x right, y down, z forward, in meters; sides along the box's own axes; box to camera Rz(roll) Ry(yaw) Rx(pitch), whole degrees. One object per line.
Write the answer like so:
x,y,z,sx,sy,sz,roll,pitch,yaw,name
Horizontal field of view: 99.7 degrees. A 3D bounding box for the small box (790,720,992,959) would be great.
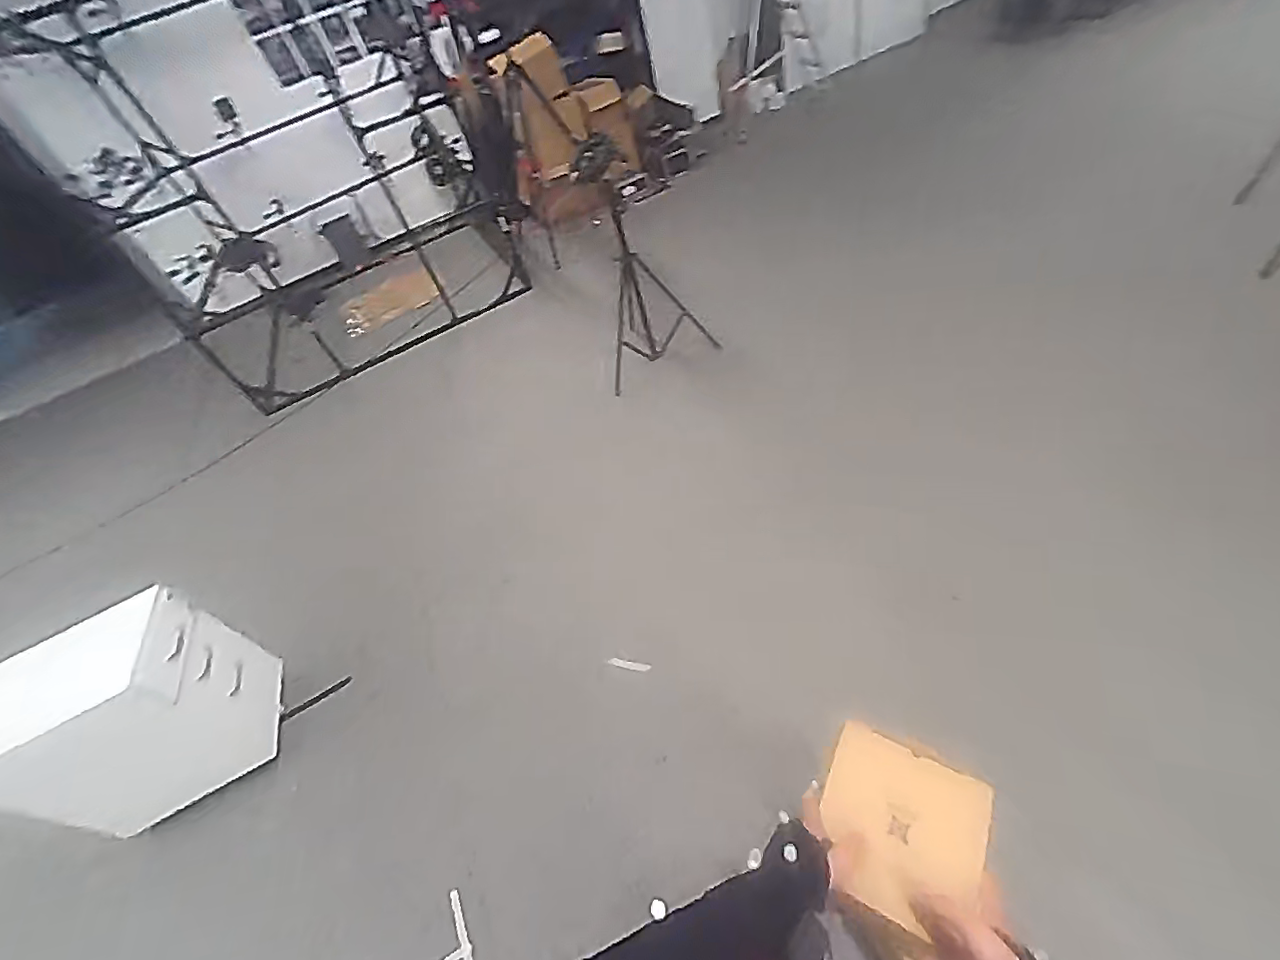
0.290,0.432,0.650,0.168,0.176,0.179,20,54,23,small box
